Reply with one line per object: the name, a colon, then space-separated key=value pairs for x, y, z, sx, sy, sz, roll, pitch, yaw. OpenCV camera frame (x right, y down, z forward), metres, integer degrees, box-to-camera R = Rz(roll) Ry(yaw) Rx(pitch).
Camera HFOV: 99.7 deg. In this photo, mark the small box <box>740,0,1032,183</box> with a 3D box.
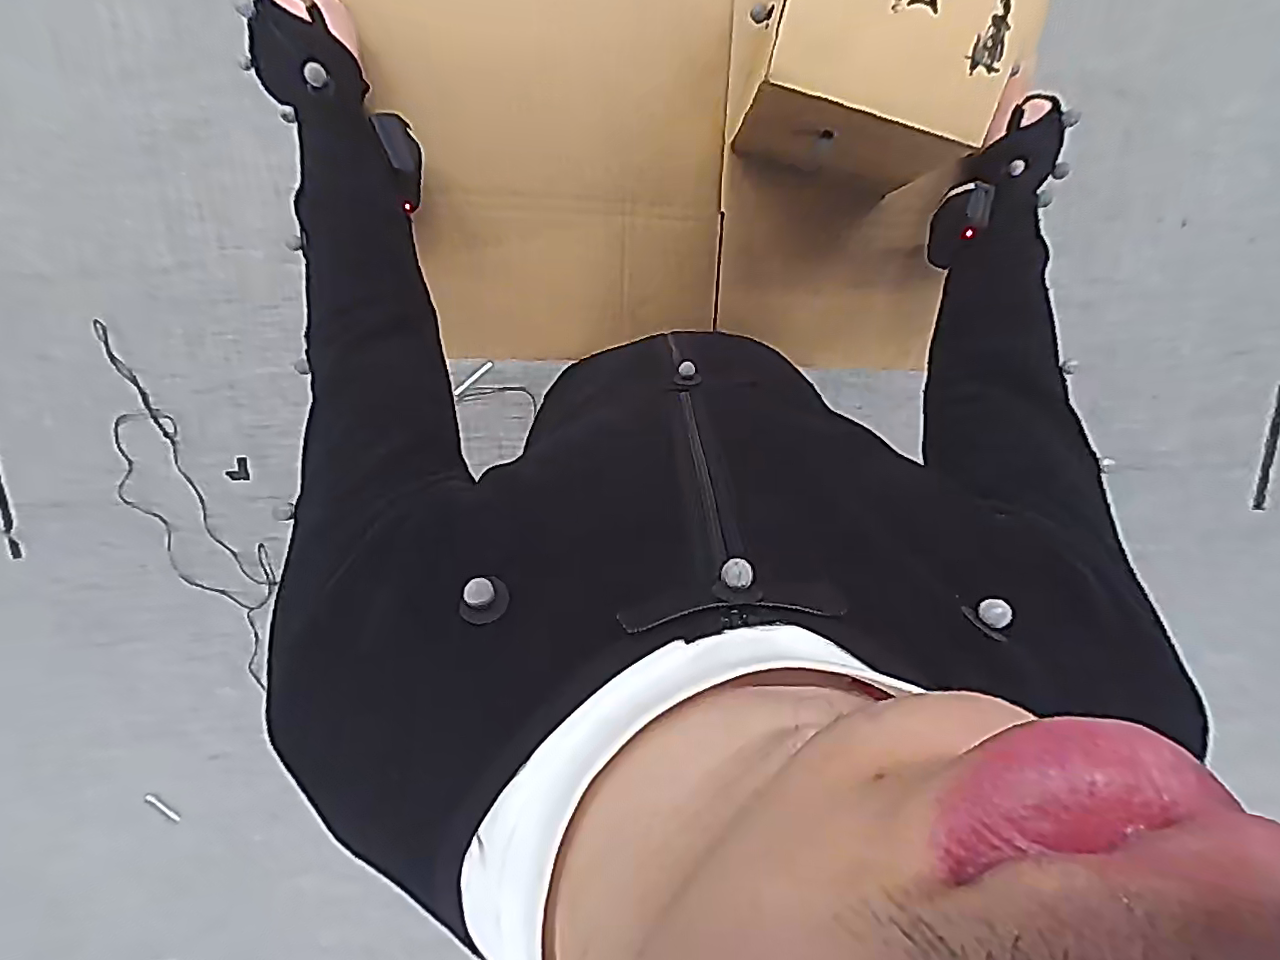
small box: x=0.197 y=-0.378 z=0.463 sx=0.179 sy=0.176 sz=0.168 roll=15 pitch=107 yaw=-3
